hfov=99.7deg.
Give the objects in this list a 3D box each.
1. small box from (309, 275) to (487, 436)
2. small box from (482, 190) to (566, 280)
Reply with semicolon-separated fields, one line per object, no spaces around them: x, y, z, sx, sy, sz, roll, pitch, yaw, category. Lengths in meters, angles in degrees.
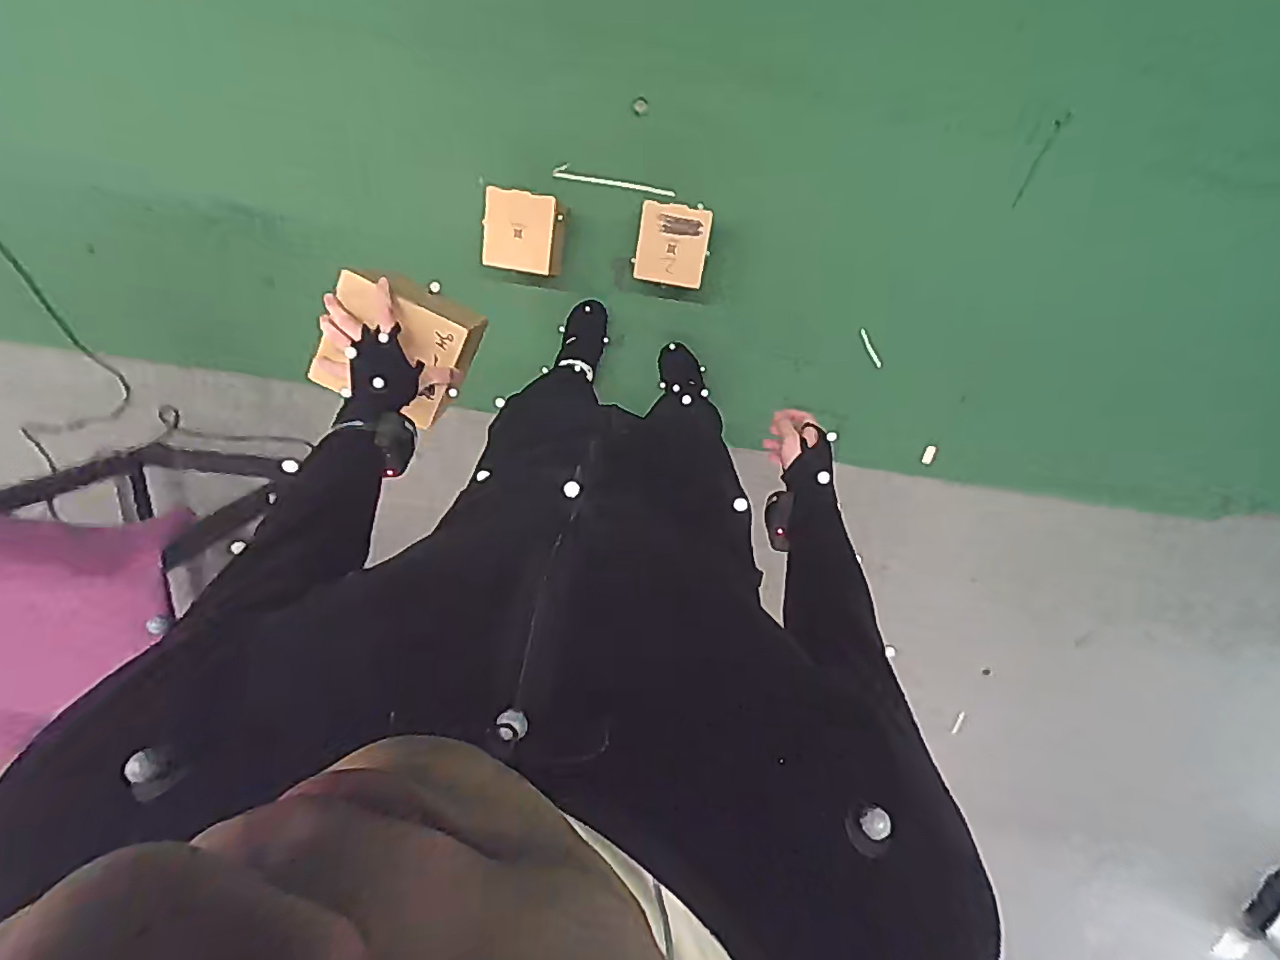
-0.354;-0.194;0.820;0.179;0.176;0.168;24;109;-14;small box
-0.287;-0.610;1.365;0.168;0.176;0.179;10;109;-1;small box
